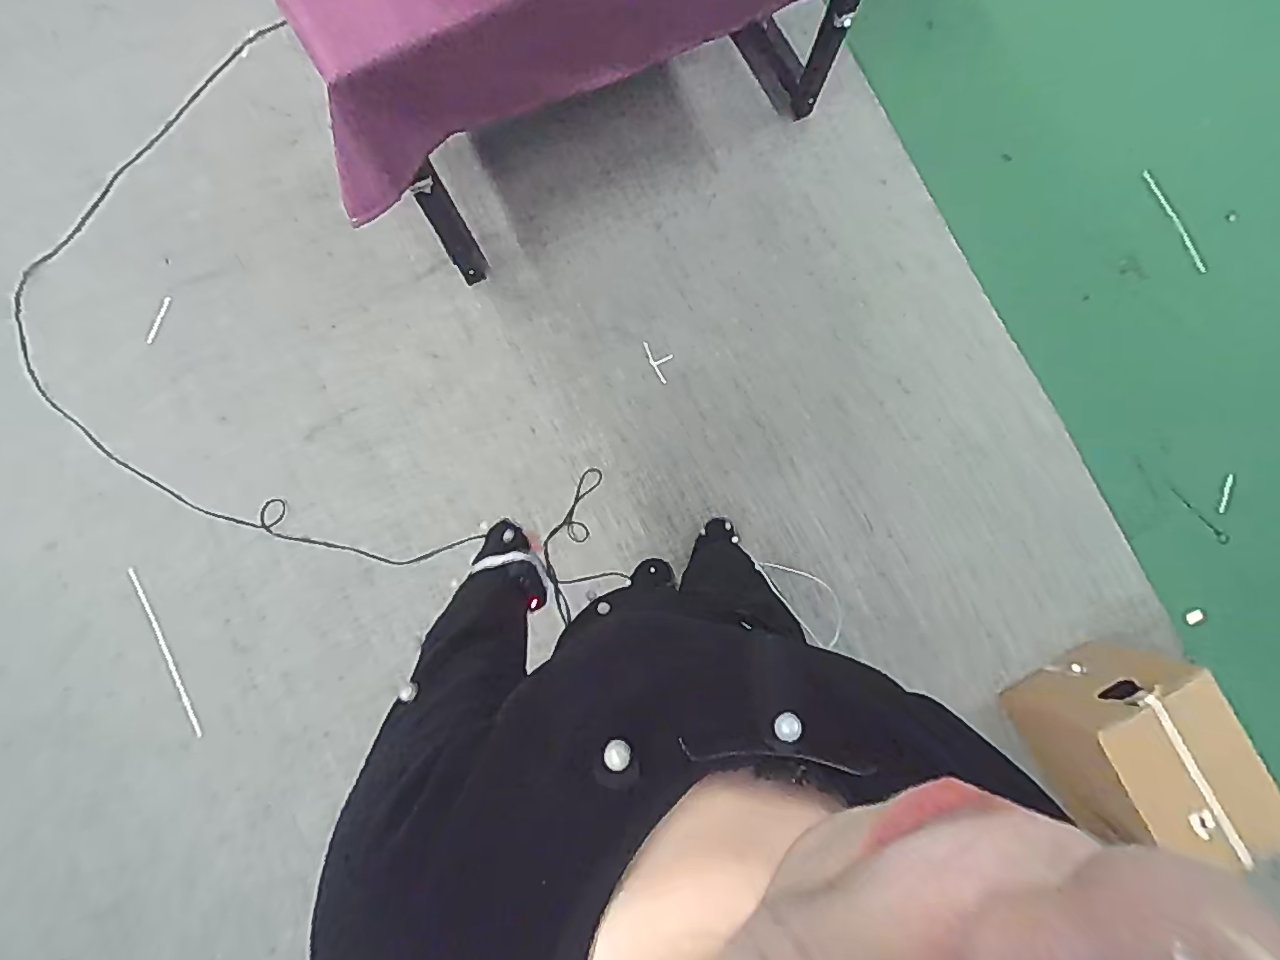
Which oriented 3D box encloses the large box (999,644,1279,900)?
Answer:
[{"bbox_3d":[1.212,0.683,1.342,0.320,0.320,0.408,-27,87,-5],"label":"large box"}]
